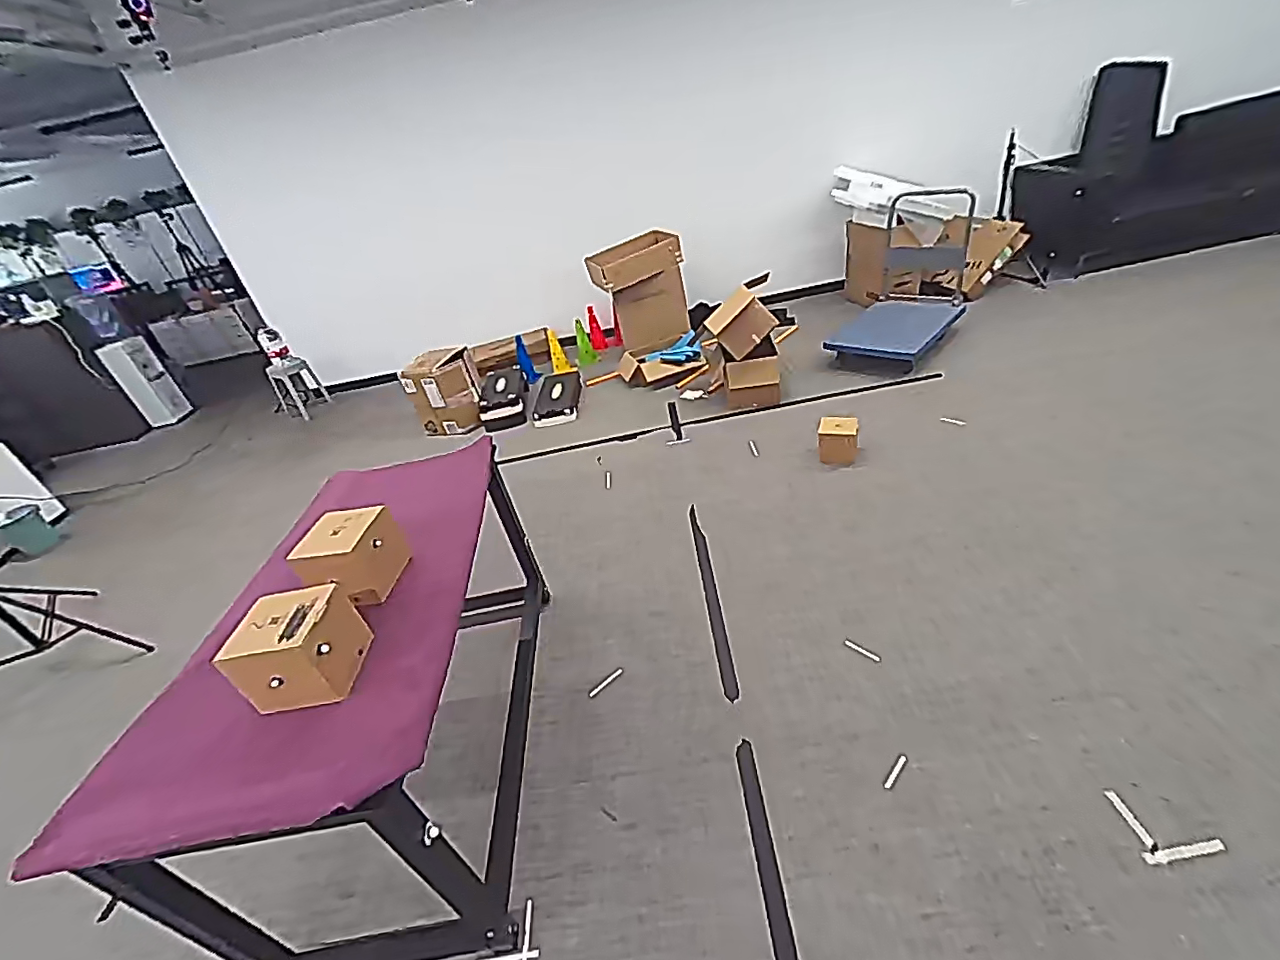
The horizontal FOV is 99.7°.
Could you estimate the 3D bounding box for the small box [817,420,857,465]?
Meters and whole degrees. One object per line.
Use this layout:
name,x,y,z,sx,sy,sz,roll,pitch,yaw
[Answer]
small box,0.980,-0.187,2.687,0.179,0.176,0.168,4,36,23

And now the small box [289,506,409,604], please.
small box,-0.698,0.188,1.325,0.168,0.176,0.179,-7,33,9
